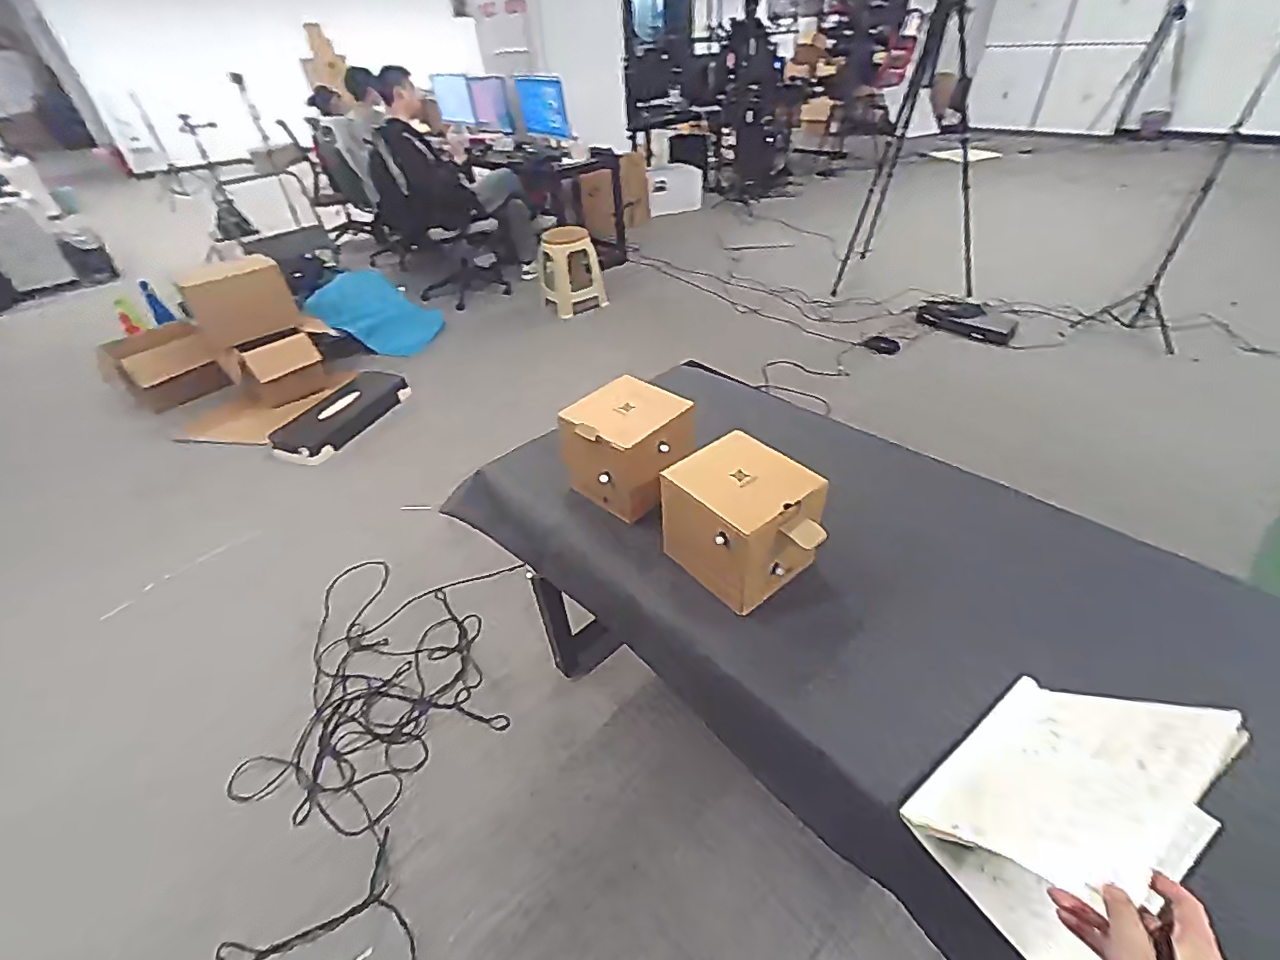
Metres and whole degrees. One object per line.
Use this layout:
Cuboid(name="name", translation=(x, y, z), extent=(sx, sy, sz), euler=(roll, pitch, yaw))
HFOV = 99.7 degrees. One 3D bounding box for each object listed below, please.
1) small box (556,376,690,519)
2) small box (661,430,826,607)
Cuboid(name="small box", translation=(-0.023, -0.059, 0.974), extent=(0.168, 0.176, 0.179), euler=(29, 49, 32))
Cuboid(name="small box", translation=(0.148, 0.056, 0.817), extent=(0.168, 0.176, 0.179), euler=(-29, 46, -28))
